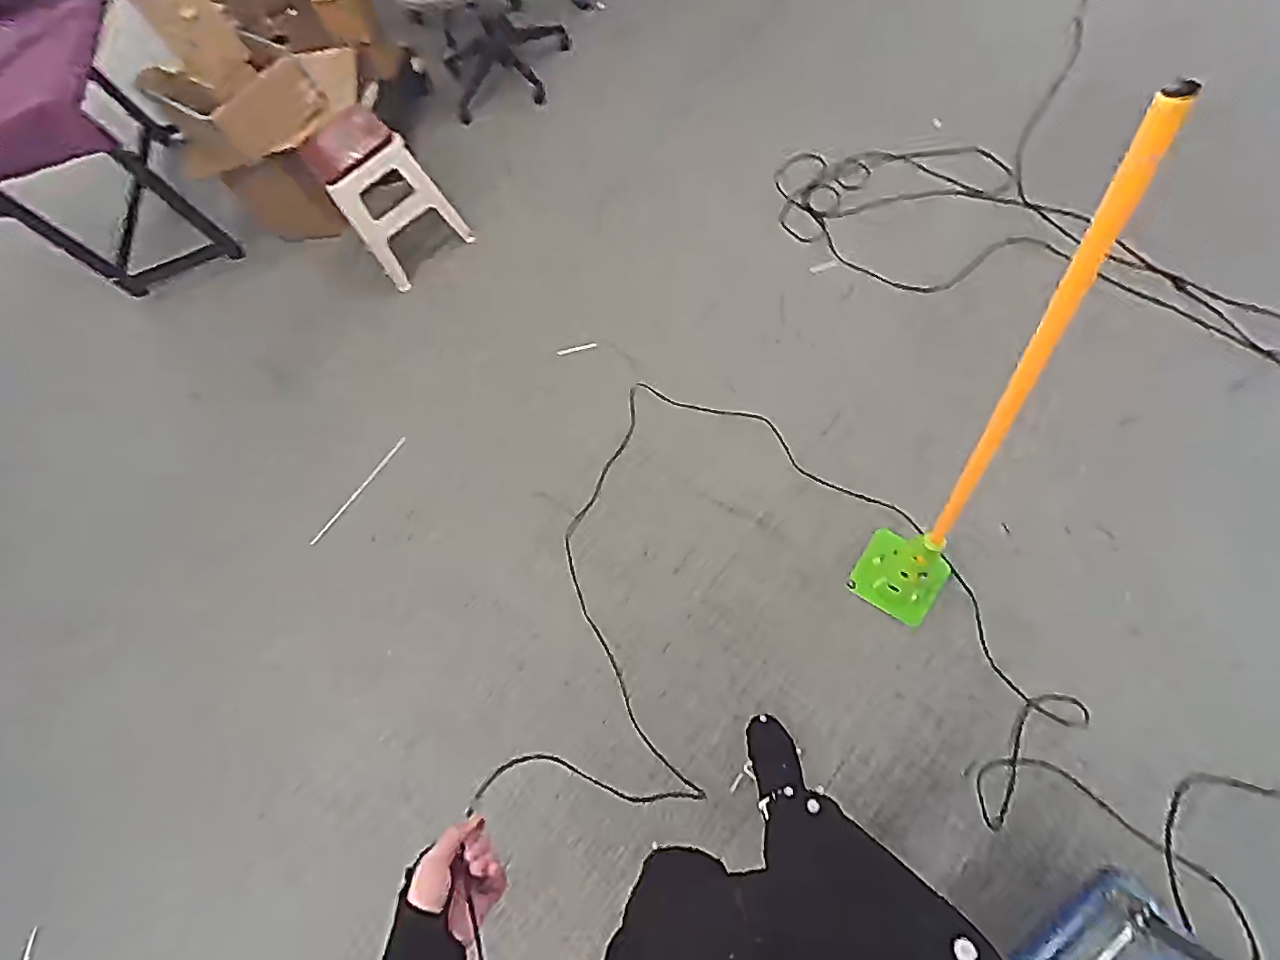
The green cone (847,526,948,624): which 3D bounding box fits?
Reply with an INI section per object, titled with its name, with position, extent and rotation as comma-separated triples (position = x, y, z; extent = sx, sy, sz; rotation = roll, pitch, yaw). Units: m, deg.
[green cone]
position = 0.638, 0.183, 1.254
extent = 0.200, 0.368, 0.202
rotation = 31, 77, 21
